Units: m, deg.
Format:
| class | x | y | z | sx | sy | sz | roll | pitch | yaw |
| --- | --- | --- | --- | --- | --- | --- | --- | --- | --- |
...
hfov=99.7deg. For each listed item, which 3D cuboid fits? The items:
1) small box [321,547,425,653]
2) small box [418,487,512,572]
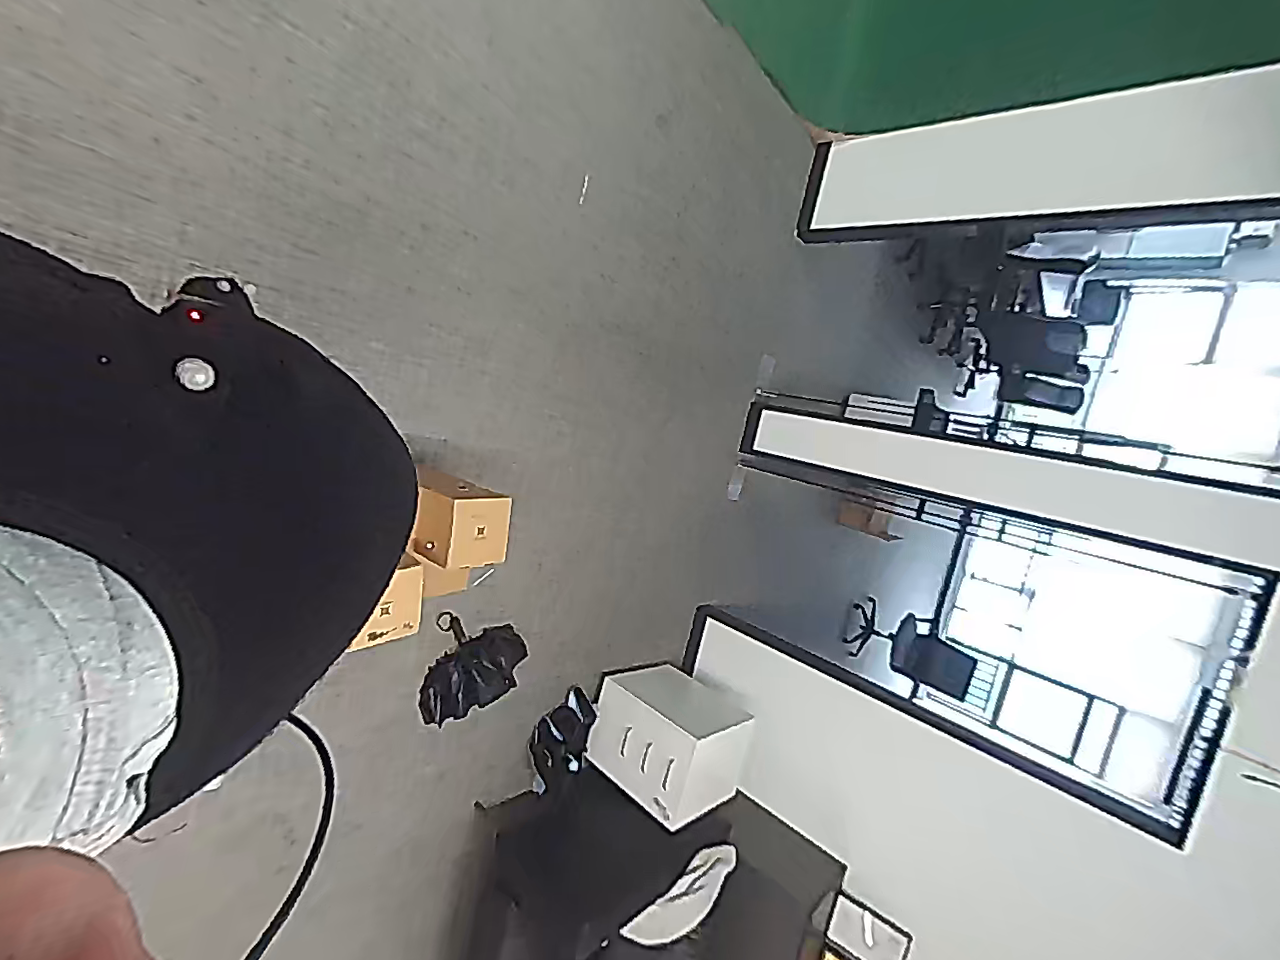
| class | x | y | z | sx | sy | sz | roll | pitch | yaw |
| --- | --- | --- | --- | --- | --- | --- | --- | --- | --- |
| small box | -0.617 | 0.263 | 1.245 | 0.168 | 0.176 | 0.179 | -6 | 109 | -48 |
| small box | -0.452 | 0.120 | 1.386 | 0.168 | 0.176 | 0.179 | -2 | 101 | -50 |
